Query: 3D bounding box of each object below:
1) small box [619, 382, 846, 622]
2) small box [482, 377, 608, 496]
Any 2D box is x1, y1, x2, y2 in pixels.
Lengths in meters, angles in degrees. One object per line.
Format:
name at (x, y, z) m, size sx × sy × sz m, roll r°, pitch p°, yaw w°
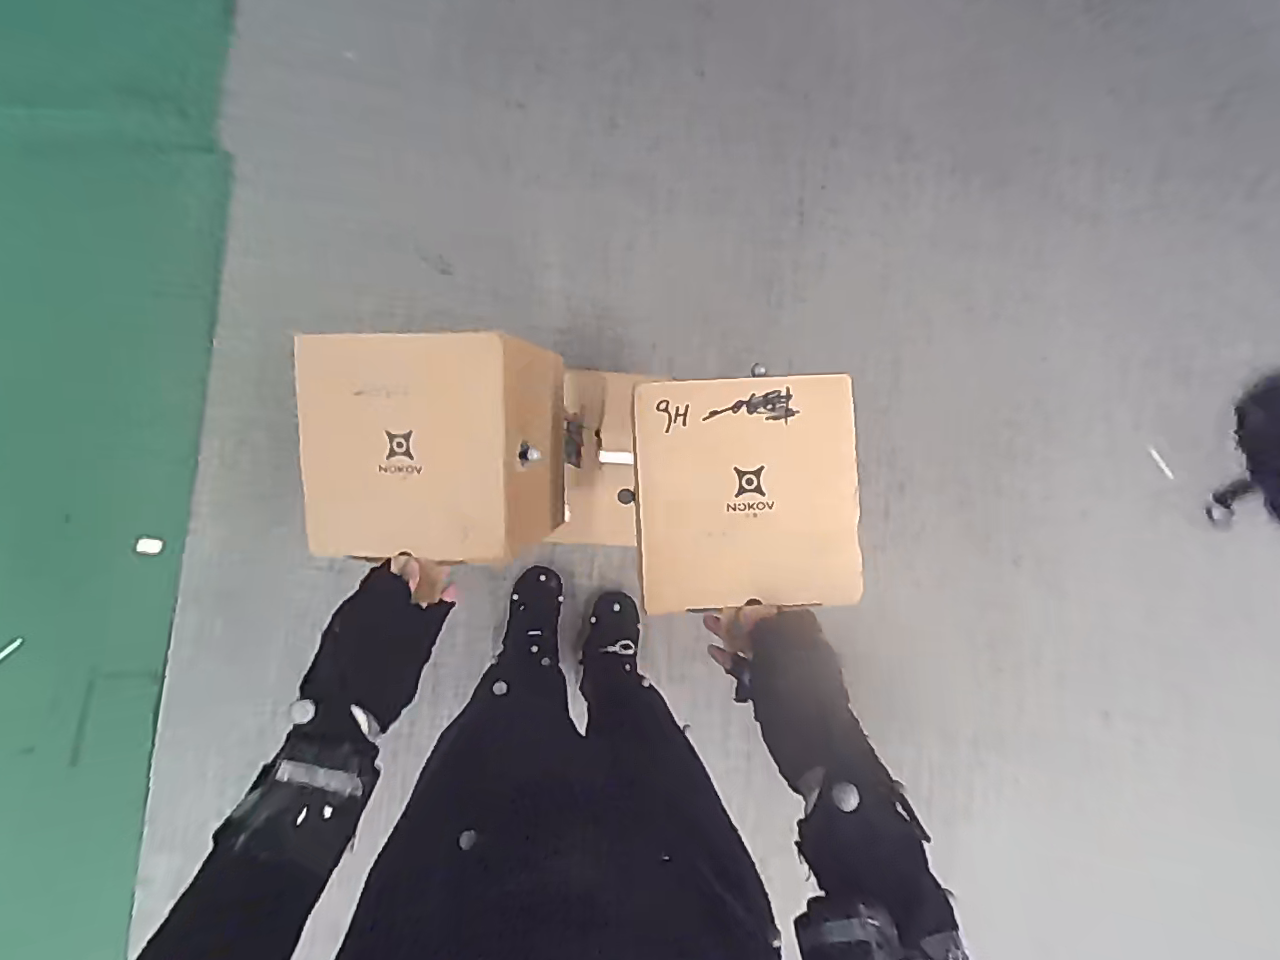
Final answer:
small box at (0.070, 0.014, 0.487) m, size 0.168 × 0.176 × 0.179 m, roll -4°, pitch 91°, yaw -1°
small box at (-0.146, -0.068, 0.872) m, size 0.179 × 0.176 × 0.168 m, roll 3°, pitch 92°, yaw -4°
